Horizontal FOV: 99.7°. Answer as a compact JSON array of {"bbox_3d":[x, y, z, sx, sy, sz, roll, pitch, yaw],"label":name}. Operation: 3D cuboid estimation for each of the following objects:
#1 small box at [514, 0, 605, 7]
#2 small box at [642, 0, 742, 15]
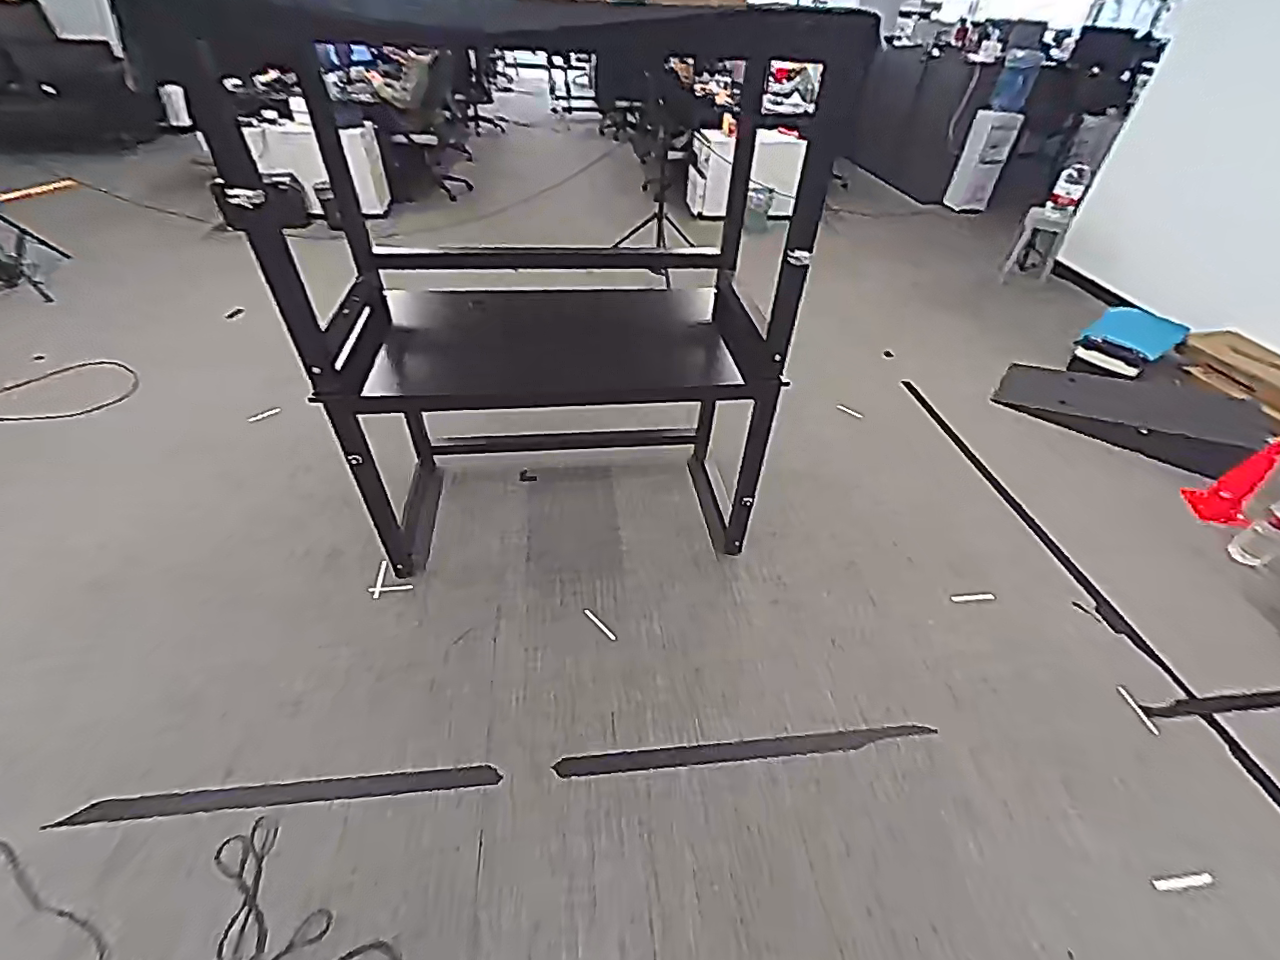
[{"bbox_3d":[-0.143,-0.928,0.928,0.168,0.176,0.179,-1,42,-5],"label":"small box"},{"bbox_3d":[0.093,-0.937,0.951,0.168,0.176,0.179,-3,42,-5],"label":"small box"}]
